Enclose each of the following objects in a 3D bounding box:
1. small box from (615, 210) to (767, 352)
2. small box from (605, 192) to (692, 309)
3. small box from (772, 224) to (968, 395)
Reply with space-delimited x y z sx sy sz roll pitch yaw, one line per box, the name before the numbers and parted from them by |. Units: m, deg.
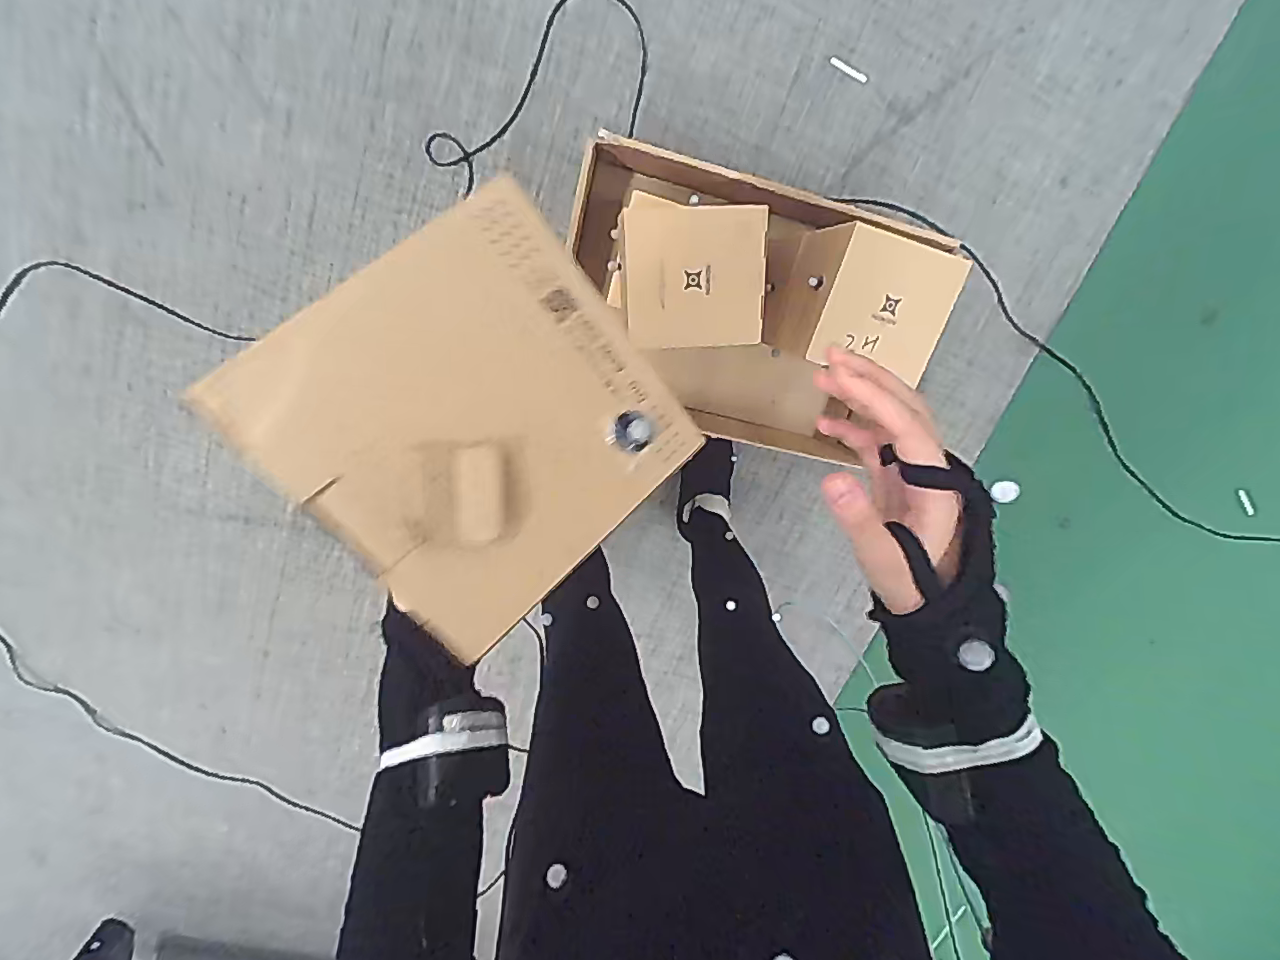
small box | 0.059 -0.273 0.741 0.179 0.176 0.168 -3 112 -4
small box | 0.043 -0.347 0.885 0.179 0.176 0.168 12 110 -10
small box | 0.307 -0.240 0.768 0.168 0.176 0.179 15 109 -9
